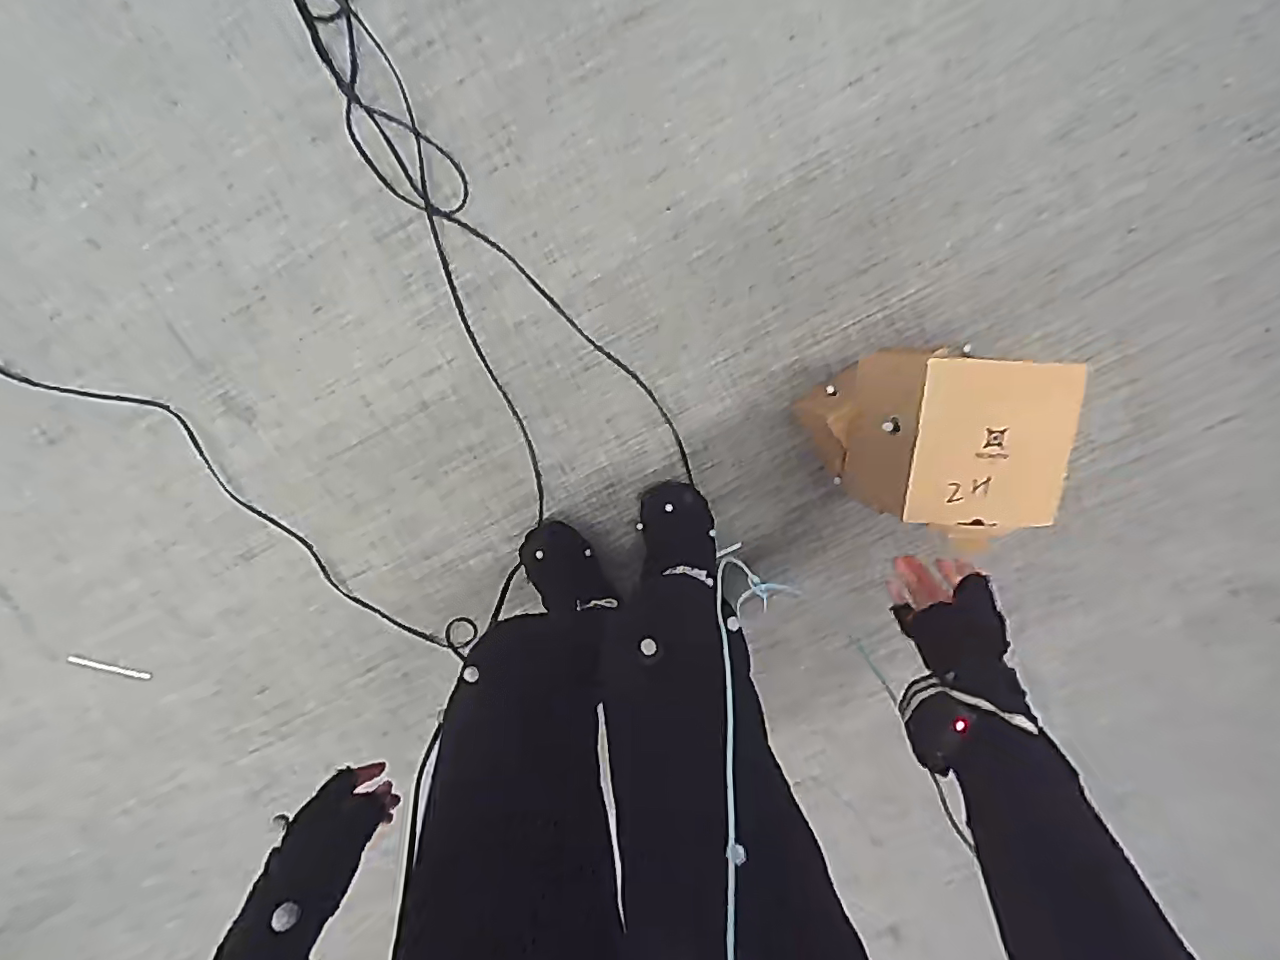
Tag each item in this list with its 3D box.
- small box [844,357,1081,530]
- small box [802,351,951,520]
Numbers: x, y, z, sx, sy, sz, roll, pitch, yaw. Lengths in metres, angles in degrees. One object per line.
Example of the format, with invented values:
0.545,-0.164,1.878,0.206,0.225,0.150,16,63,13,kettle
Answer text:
0.359,-0.052,0.640,0.168,0.176,0.179,2,105,-1,small box
0.357,-0.072,0.787,0.179,0.176,0.168,-32,103,6,small box
